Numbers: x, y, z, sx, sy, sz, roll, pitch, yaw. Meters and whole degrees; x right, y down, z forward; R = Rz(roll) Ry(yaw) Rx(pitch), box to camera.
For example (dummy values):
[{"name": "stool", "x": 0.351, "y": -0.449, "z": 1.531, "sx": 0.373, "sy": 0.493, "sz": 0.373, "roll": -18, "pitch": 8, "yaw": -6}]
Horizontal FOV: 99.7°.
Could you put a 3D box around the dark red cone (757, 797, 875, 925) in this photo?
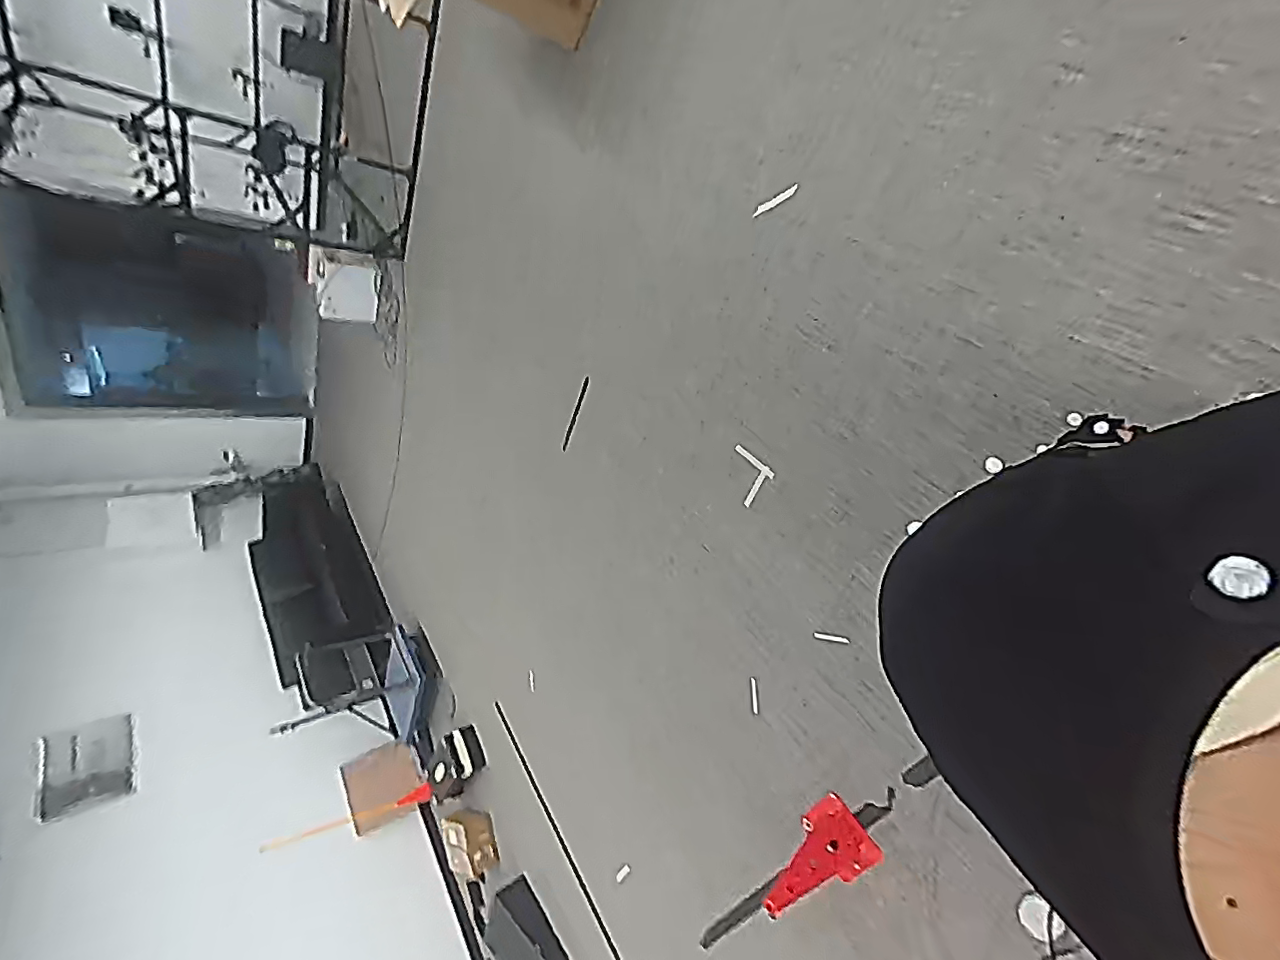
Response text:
[{"name": "dark red cone", "x": 0.449, "y": 1.081, "z": 1.487, "sx": 0.201, "sy": 0.394, "sz": 0.202, "roll": 47, "pitch": 127, "yaw": 33}]
